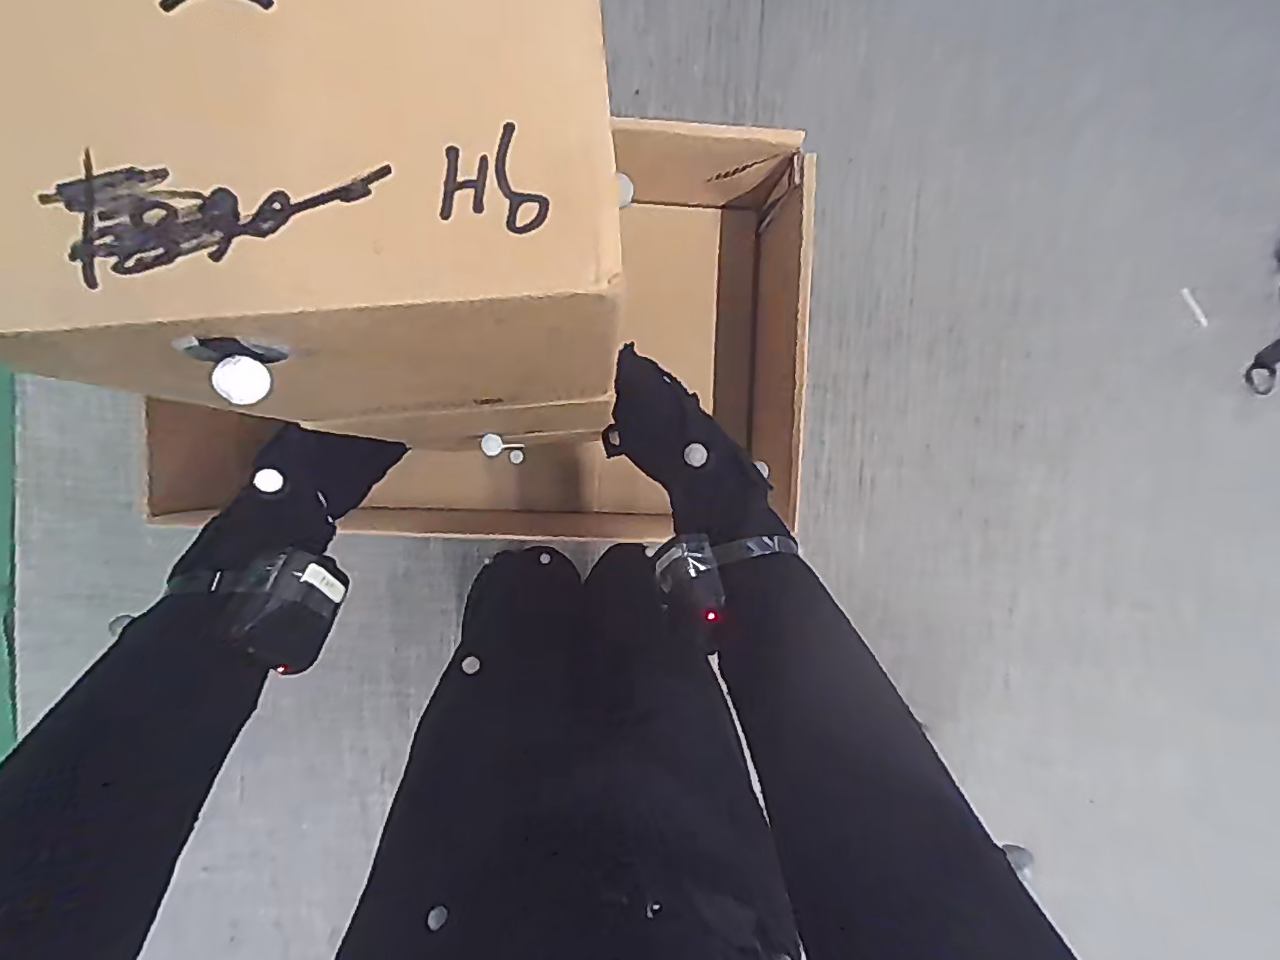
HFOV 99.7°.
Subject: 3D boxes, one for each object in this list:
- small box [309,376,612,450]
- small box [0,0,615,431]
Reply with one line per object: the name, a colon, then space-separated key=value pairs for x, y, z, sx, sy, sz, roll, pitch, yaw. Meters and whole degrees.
small box: x=-0.111 y=-0.118 z=0.375 sx=0.168 sy=0.176 sz=0.179 roll=-6 pitch=91 yaw=-4
small box: x=-0.101 y=-0.121 z=0.211 sx=0.168 sy=0.176 sz=0.179 roll=-6 pitch=89 yaw=-3
